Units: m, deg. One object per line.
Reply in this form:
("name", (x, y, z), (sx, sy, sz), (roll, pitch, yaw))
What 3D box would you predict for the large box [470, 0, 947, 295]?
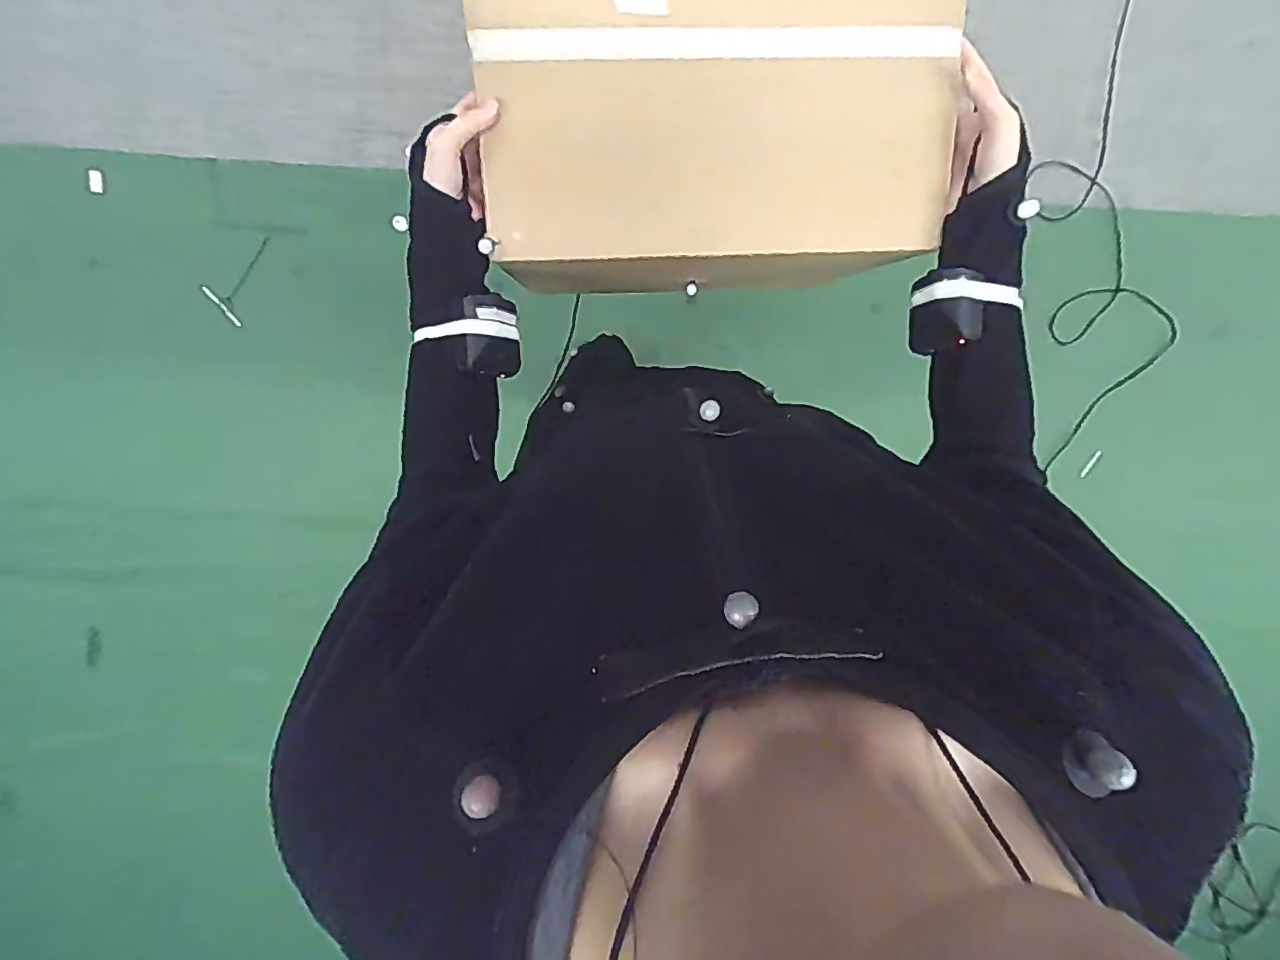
("large box", (0.055, -0.386, 0.600), (0.408, 0.320, 0.320), (-3, 103, -3))
